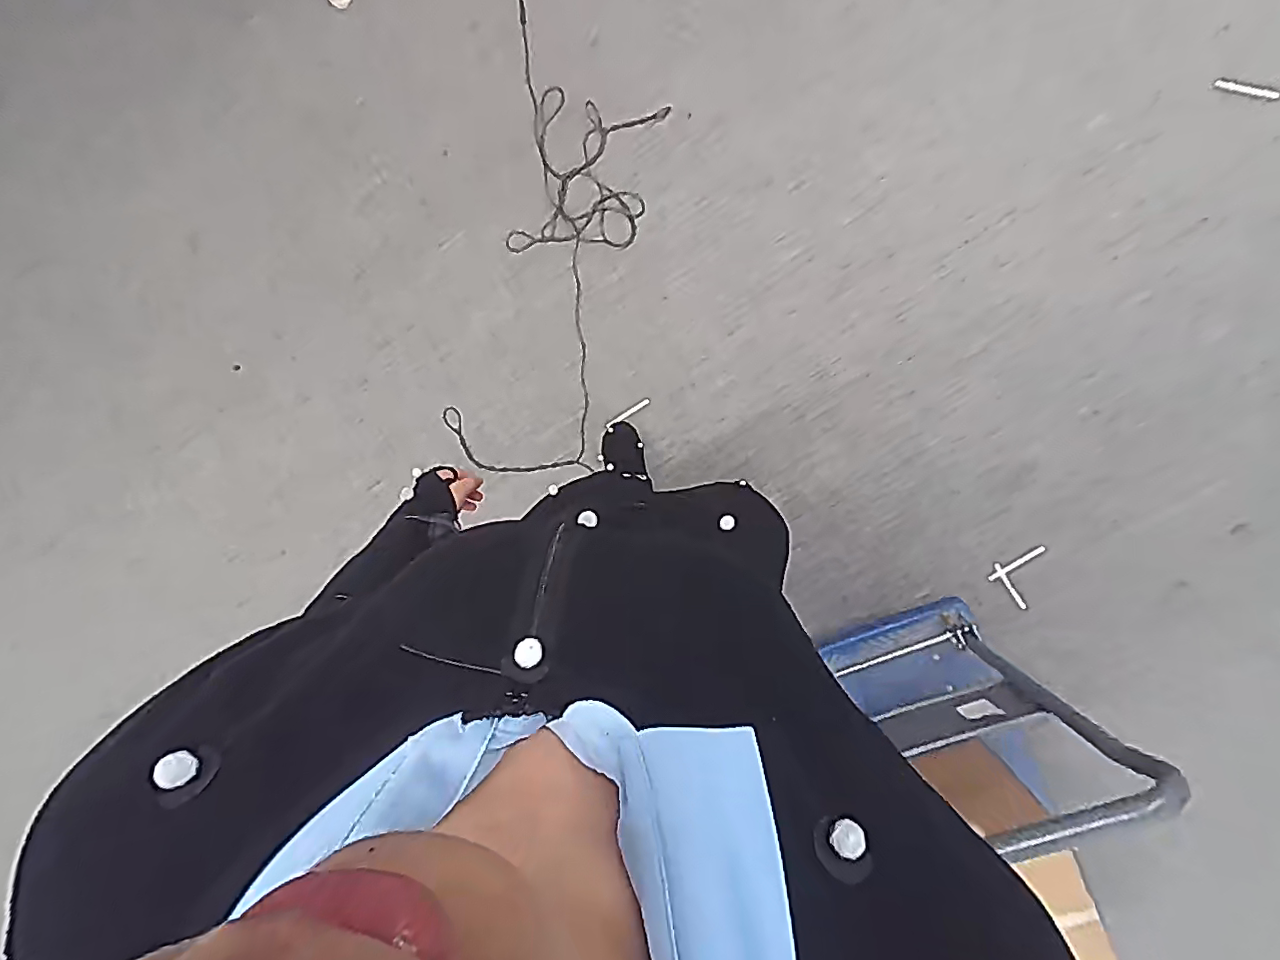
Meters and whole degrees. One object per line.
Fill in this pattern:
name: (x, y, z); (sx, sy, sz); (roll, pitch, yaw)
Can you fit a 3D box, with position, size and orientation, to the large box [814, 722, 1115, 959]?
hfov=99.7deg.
large box: (0.647, 0.792, 1.159); (0.408, 0.320, 0.320); (-23, 92, 8)
